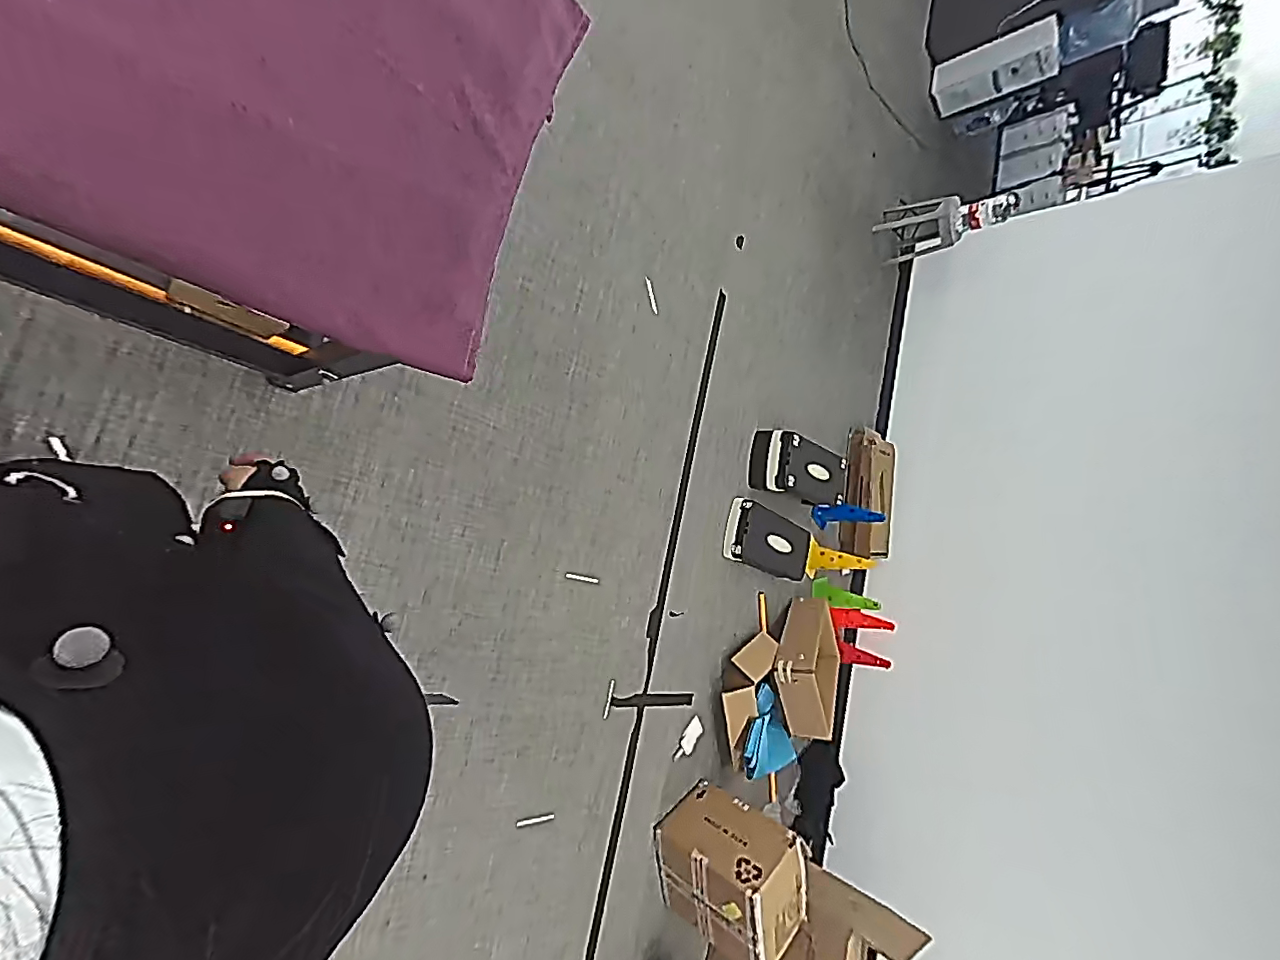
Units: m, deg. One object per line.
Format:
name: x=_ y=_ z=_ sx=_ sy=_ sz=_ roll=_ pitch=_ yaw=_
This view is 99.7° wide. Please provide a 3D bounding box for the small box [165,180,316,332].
small box: x=-0.721 y=-0.386 z=0.972 sx=0.168 sy=0.176 sz=0.179 roll=23 pitch=76 yaw=-45
